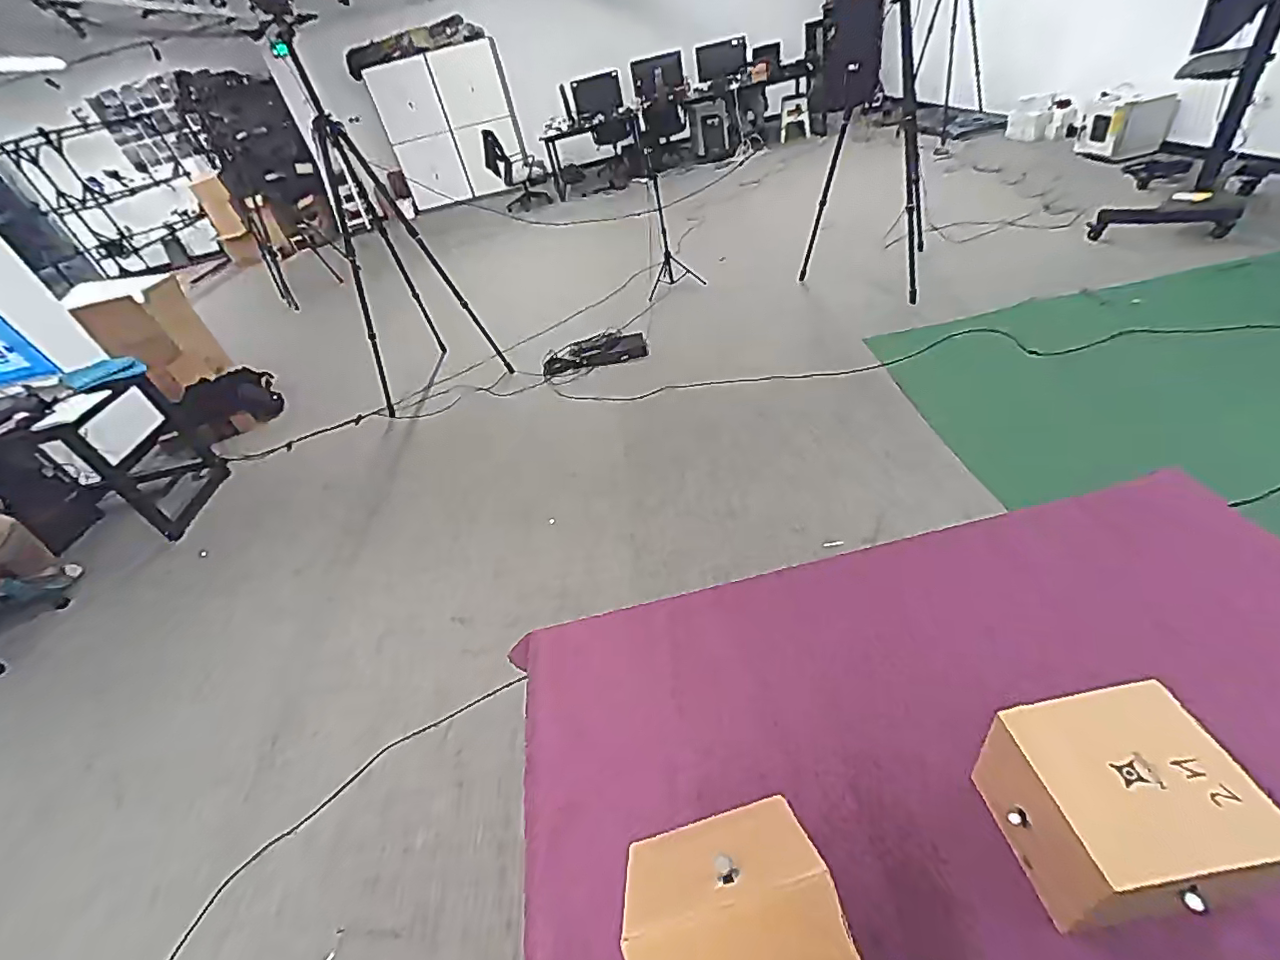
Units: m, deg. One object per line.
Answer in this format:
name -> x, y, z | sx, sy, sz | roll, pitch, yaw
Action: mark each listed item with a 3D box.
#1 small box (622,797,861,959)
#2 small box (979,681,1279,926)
small box -> 0.092, 0.422, 0.488 | 0.179, 0.176, 0.168 | -16, 78, -3
small box -> 0.496, 0.347, 0.578 | 0.179, 0.176, 0.168 | -13, 39, 3
